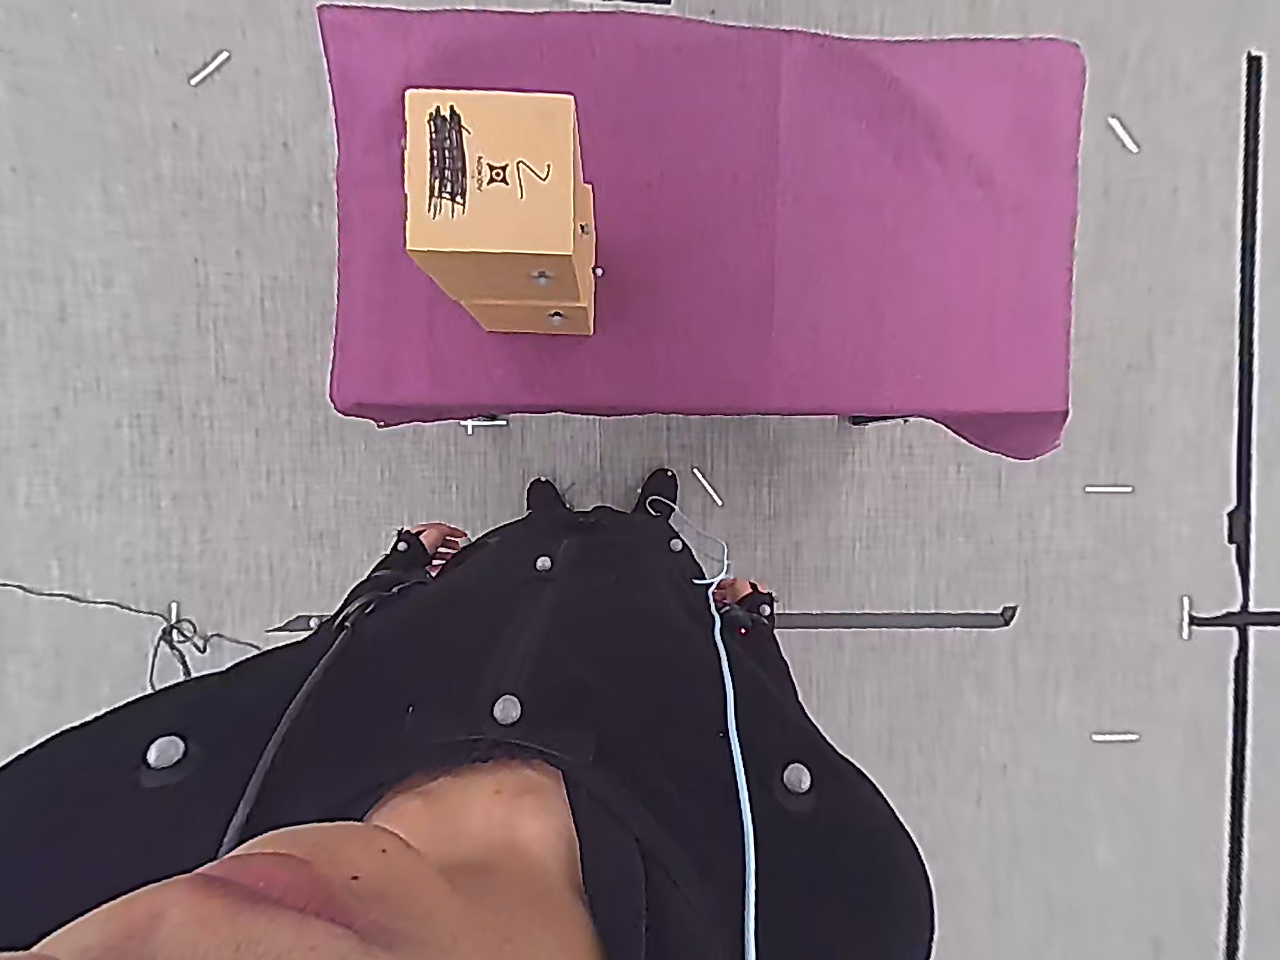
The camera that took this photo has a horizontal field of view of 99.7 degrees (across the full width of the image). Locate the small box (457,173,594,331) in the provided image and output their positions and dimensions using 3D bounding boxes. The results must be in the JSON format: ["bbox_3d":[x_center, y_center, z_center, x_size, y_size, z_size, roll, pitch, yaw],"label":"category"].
[{"bbox_3d":[-0.158,-0.323,0.798,0.179,0.176,0.168,2,92,-3],"label":"small box"}]
